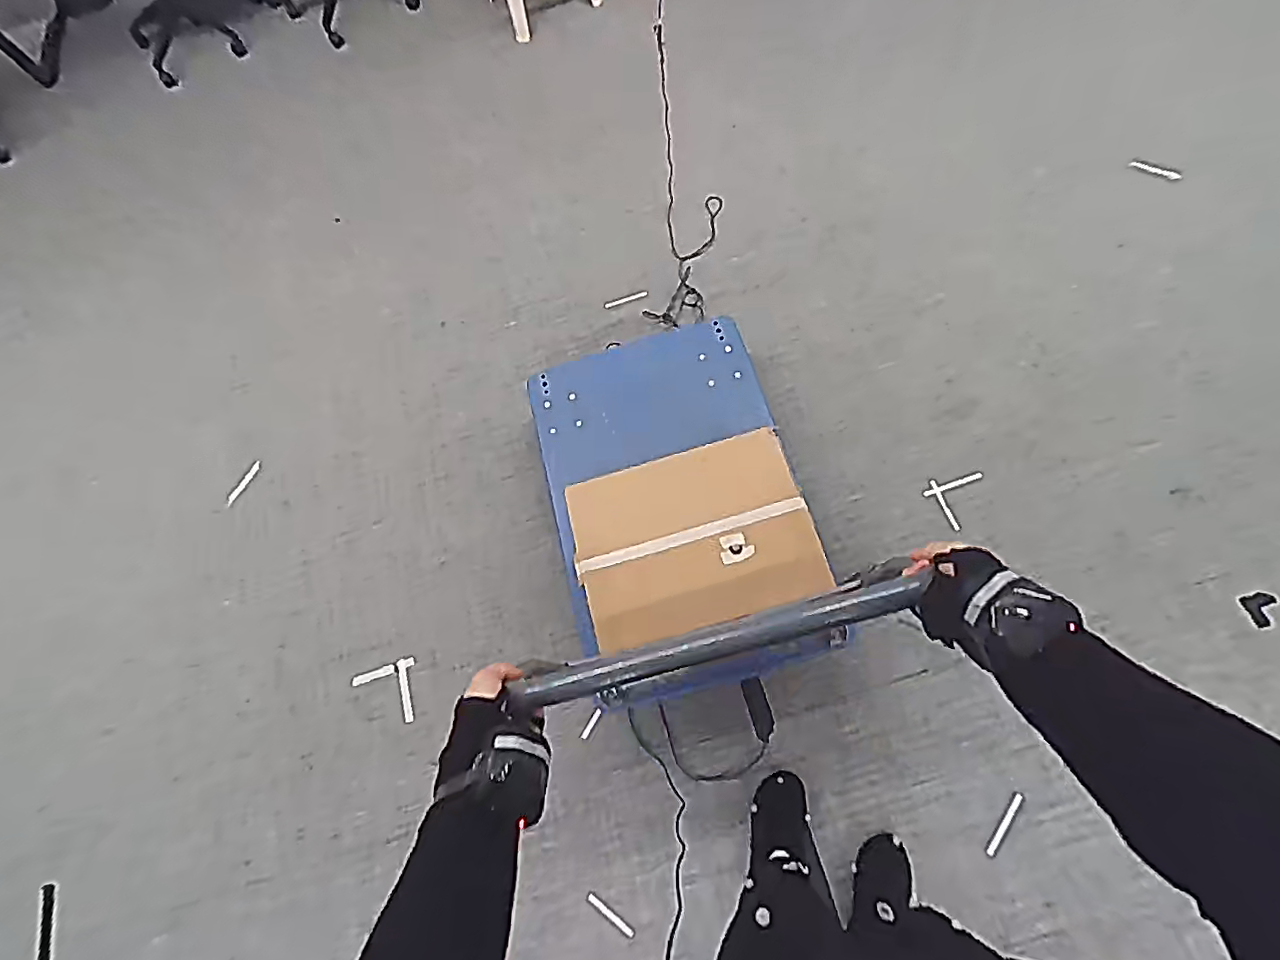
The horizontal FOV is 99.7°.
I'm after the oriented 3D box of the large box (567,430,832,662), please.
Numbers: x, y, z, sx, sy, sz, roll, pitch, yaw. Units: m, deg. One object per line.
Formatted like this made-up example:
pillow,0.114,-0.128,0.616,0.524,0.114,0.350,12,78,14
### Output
large box,0.109,0.152,1.087,0.408,0.320,0.320,-17,69,2
